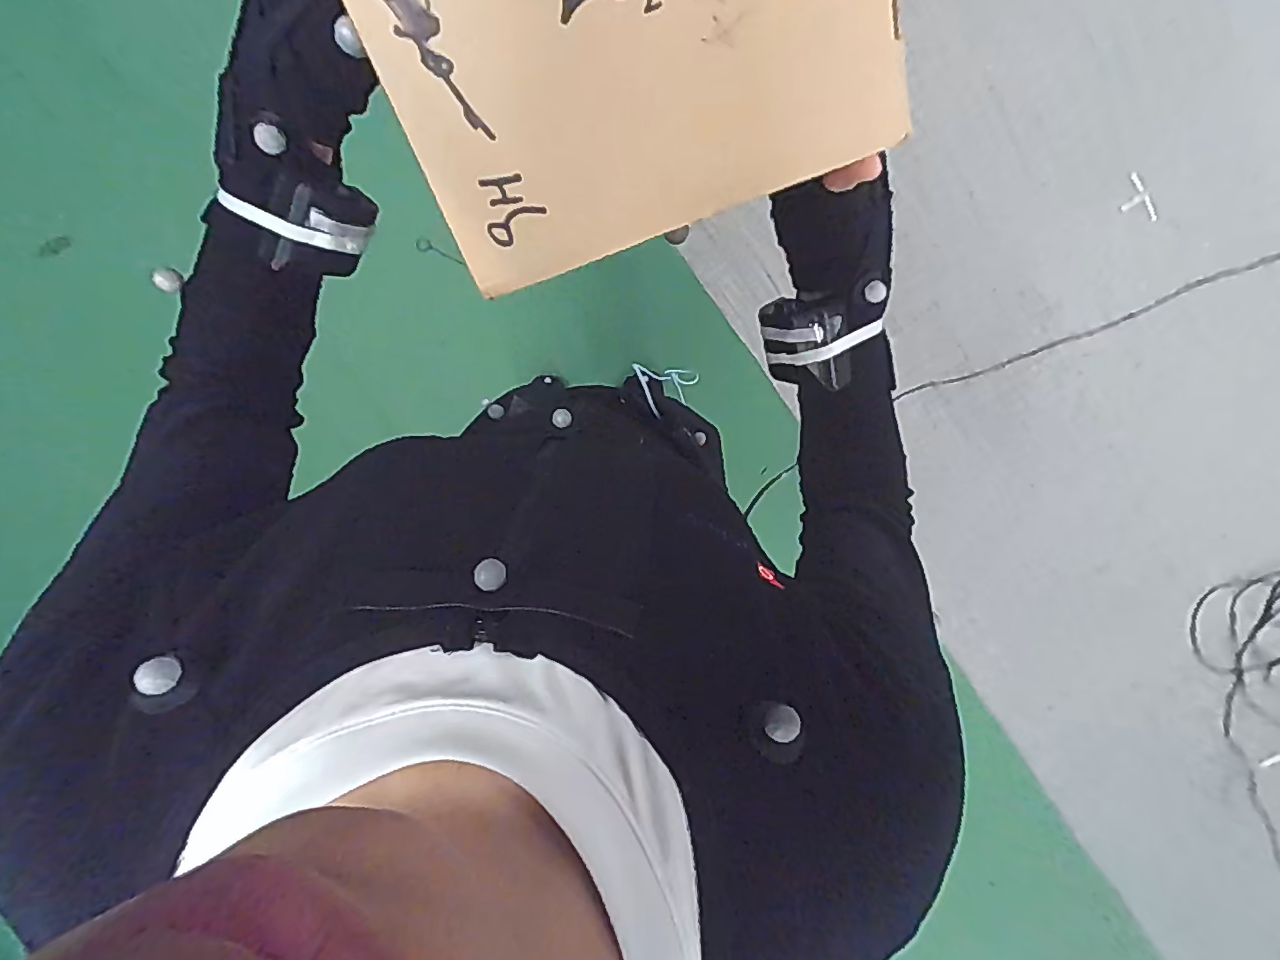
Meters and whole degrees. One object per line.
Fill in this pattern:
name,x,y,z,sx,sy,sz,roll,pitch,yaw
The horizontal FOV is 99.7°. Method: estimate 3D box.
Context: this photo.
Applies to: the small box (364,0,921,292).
small box,-0.004,-0.205,0.242,0.179,0.176,0.168,-16,117,8
